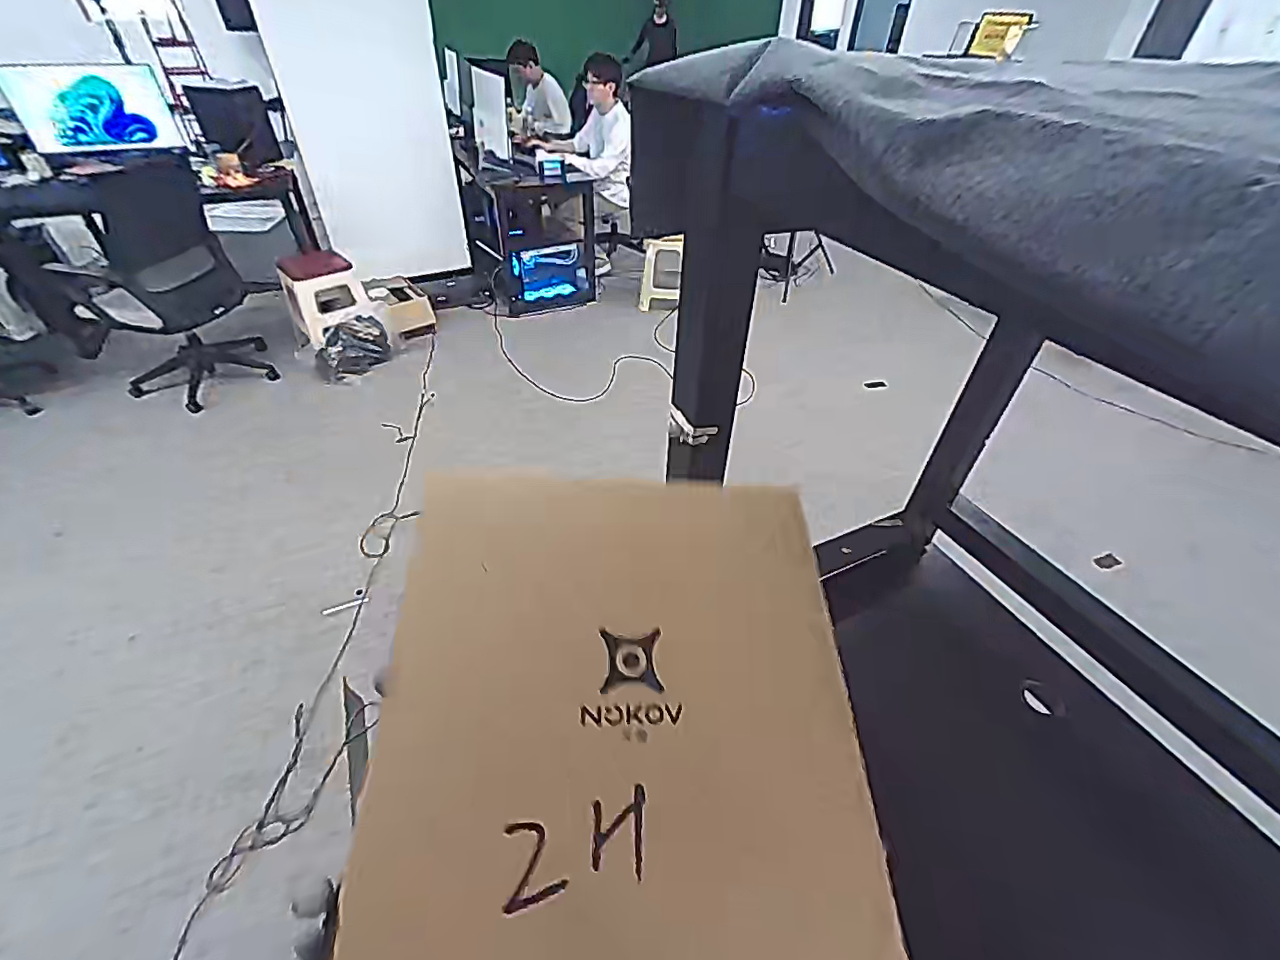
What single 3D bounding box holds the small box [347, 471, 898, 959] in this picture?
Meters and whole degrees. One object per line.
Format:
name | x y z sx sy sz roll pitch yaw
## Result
small box | -0.015 0.117 0.267 0.168 0.176 0.179 4 56 -9
